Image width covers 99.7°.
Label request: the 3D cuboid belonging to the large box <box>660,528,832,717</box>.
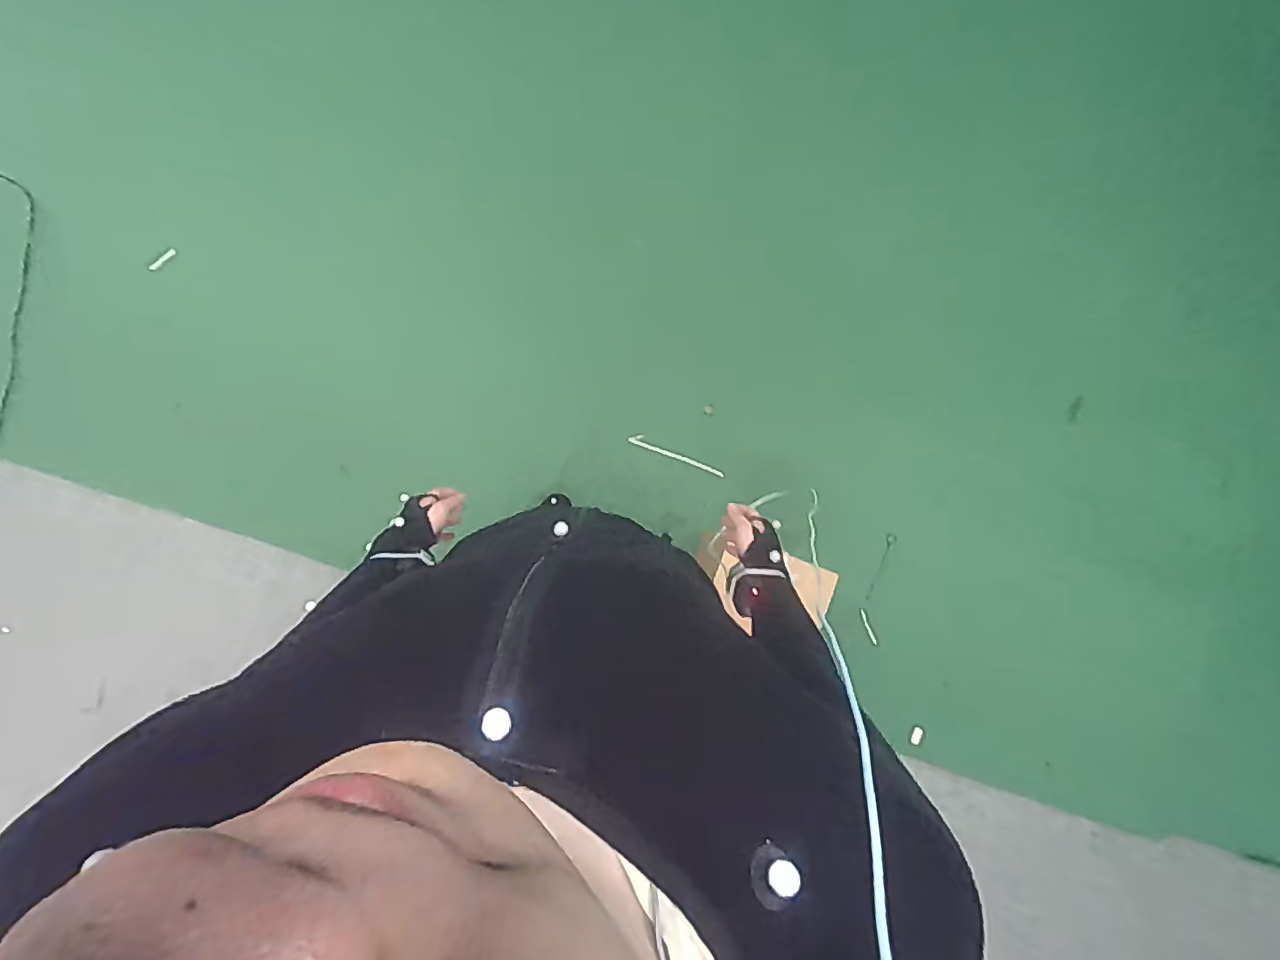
[{"bbox_3d":[0.283,0.379,1.541,0.320,0.320,0.408,21,86,-4],"label":"large box"}]
